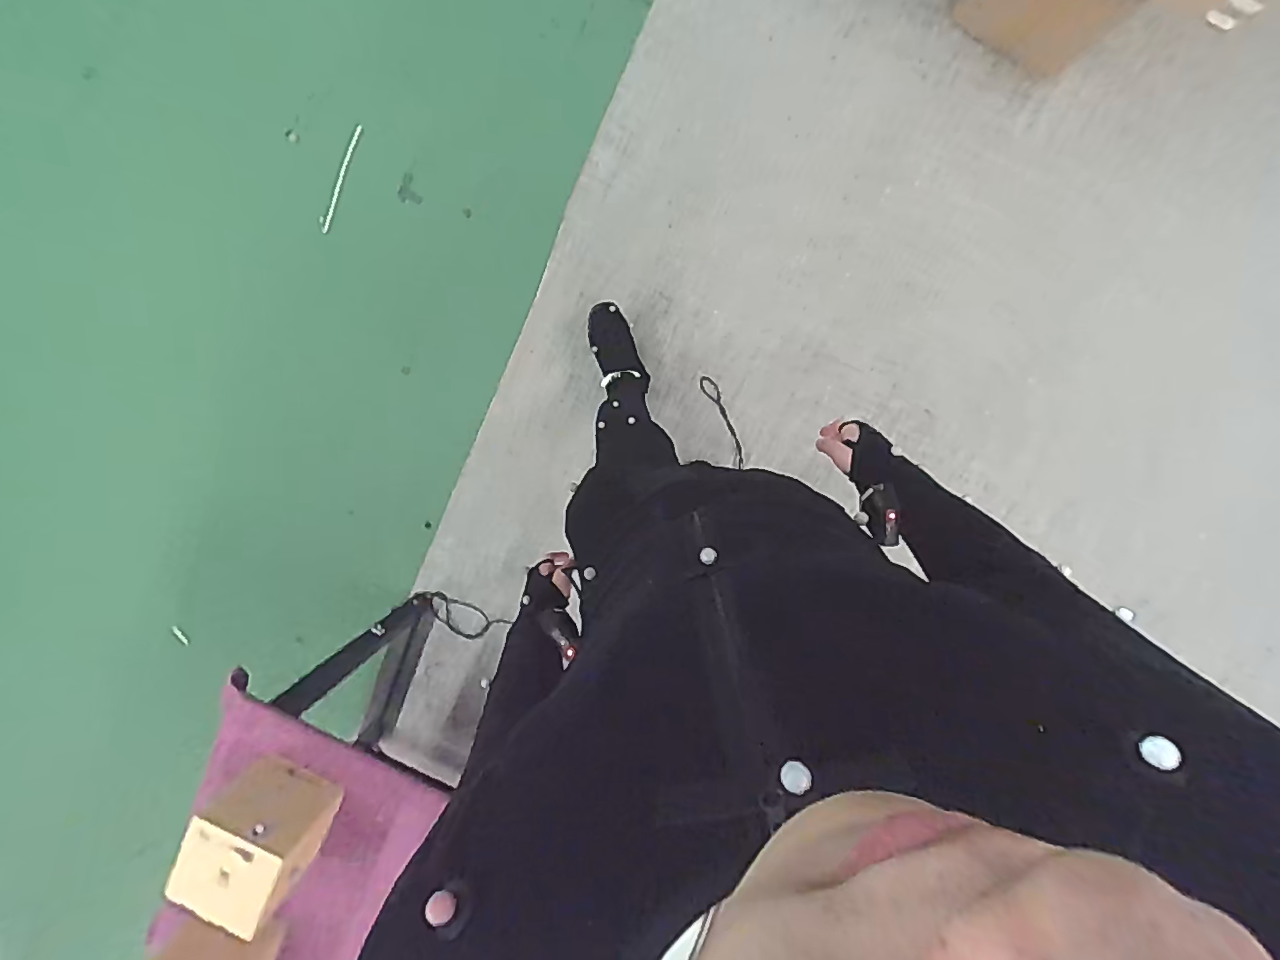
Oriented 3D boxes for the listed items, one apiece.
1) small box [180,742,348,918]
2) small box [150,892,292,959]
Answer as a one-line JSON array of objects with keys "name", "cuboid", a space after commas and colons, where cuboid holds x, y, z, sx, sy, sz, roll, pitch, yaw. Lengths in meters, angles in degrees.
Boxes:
[{"name": "small box", "cuboid": [-0.678, 0.631, 0.995, 0.168, 0.176, 0.179, 26, 101, 1]}, {"name": "small box", "cuboid": [-0.829, 0.946, 1.063, 0.168, 0.176, 0.179, 24, 100, 0]}]
